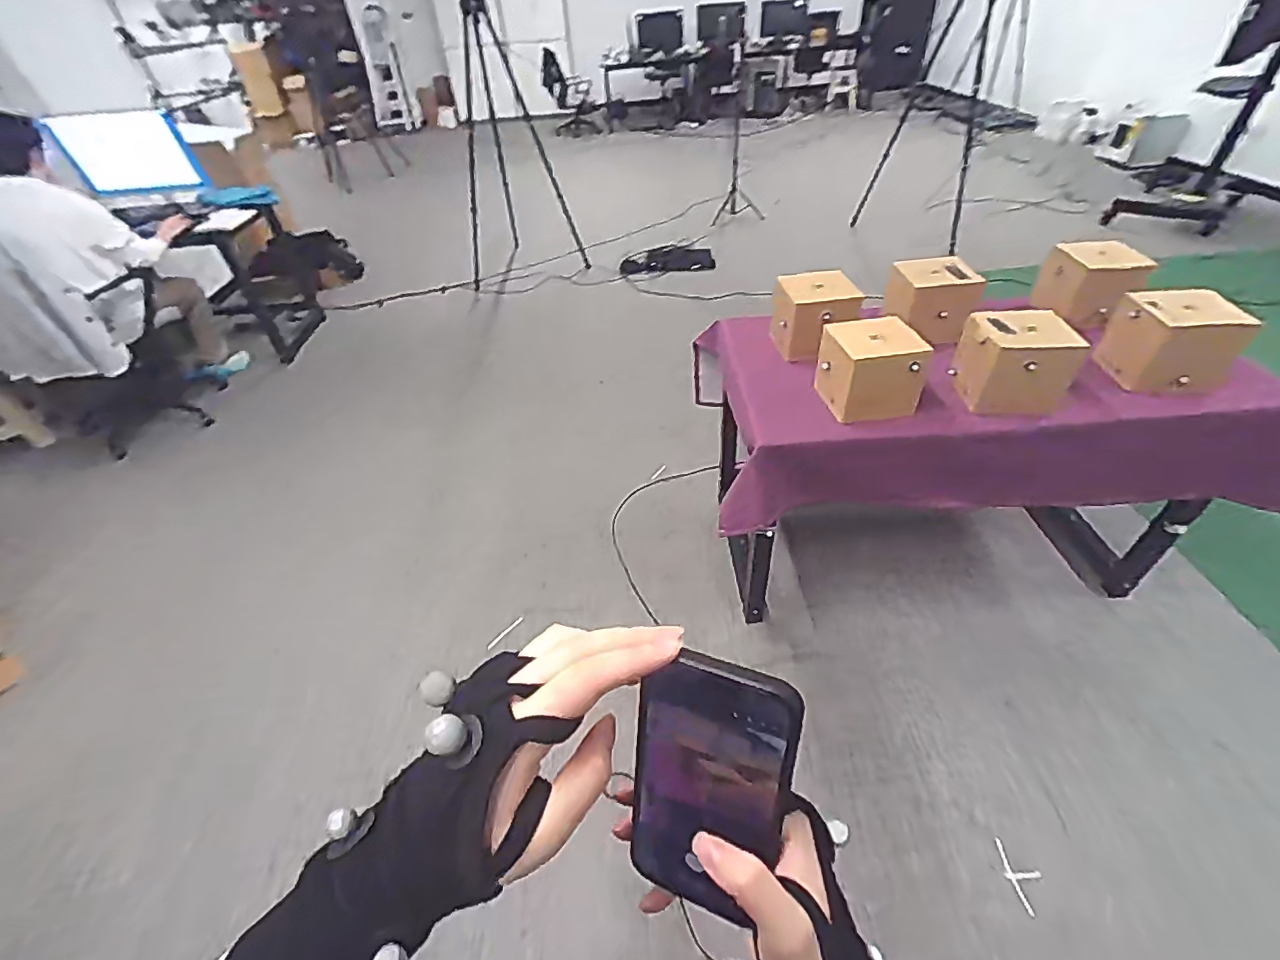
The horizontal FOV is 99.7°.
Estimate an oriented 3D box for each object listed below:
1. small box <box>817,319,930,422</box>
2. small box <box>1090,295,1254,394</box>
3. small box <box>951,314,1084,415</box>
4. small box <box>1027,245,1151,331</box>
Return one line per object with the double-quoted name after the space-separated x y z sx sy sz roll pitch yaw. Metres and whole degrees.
0.517 -0.246 1.232 0.179 0.176 0.168 -7 42 -4 "small box"
1.197 -0.307 1.236 0.179 0.176 0.168 1 42 6 "small box"
0.830 -0.259 1.217 0.179 0.176 0.168 1 43 5 "small box"
1.202 -0.521 1.467 0.168 0.176 0.179 -2 43 4 "small box"
